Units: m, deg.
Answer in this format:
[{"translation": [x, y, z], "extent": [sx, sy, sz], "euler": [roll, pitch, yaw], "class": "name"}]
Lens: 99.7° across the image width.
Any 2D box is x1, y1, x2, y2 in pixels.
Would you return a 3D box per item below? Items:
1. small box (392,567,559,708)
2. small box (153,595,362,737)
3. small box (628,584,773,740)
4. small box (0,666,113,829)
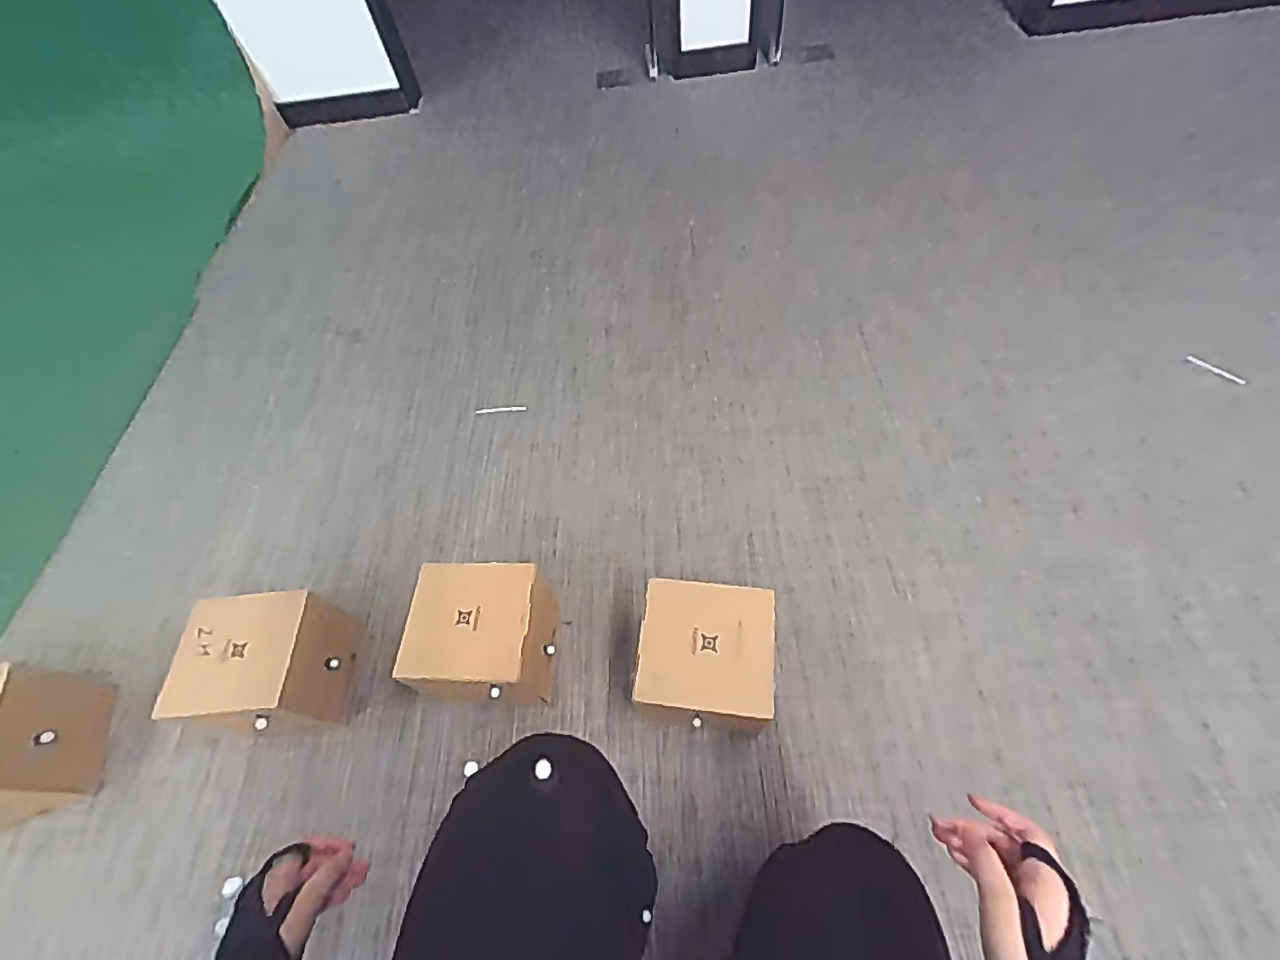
[{"translation": [-0.233, 0.241, 0.817], "extent": [0.179, 0.176, 0.168], "euler": [0, 58, 5], "class": "small box"}, {"translation": [-0.556, 0.287, 0.820], "extent": [0.179, 0.176, 0.168], "euler": [-6, 57, 2], "class": "small box"}, {"translation": [0.089, 0.263, 0.767], "extent": [0.179, 0.176, 0.168], "euler": [5, 59, 9], "class": "small box"}, {"translation": [-0.937, 0.400, 0.792], "extent": [0.168, 0.176, 0.179], "euler": [-19, 58, -6], "class": "small box"}]
